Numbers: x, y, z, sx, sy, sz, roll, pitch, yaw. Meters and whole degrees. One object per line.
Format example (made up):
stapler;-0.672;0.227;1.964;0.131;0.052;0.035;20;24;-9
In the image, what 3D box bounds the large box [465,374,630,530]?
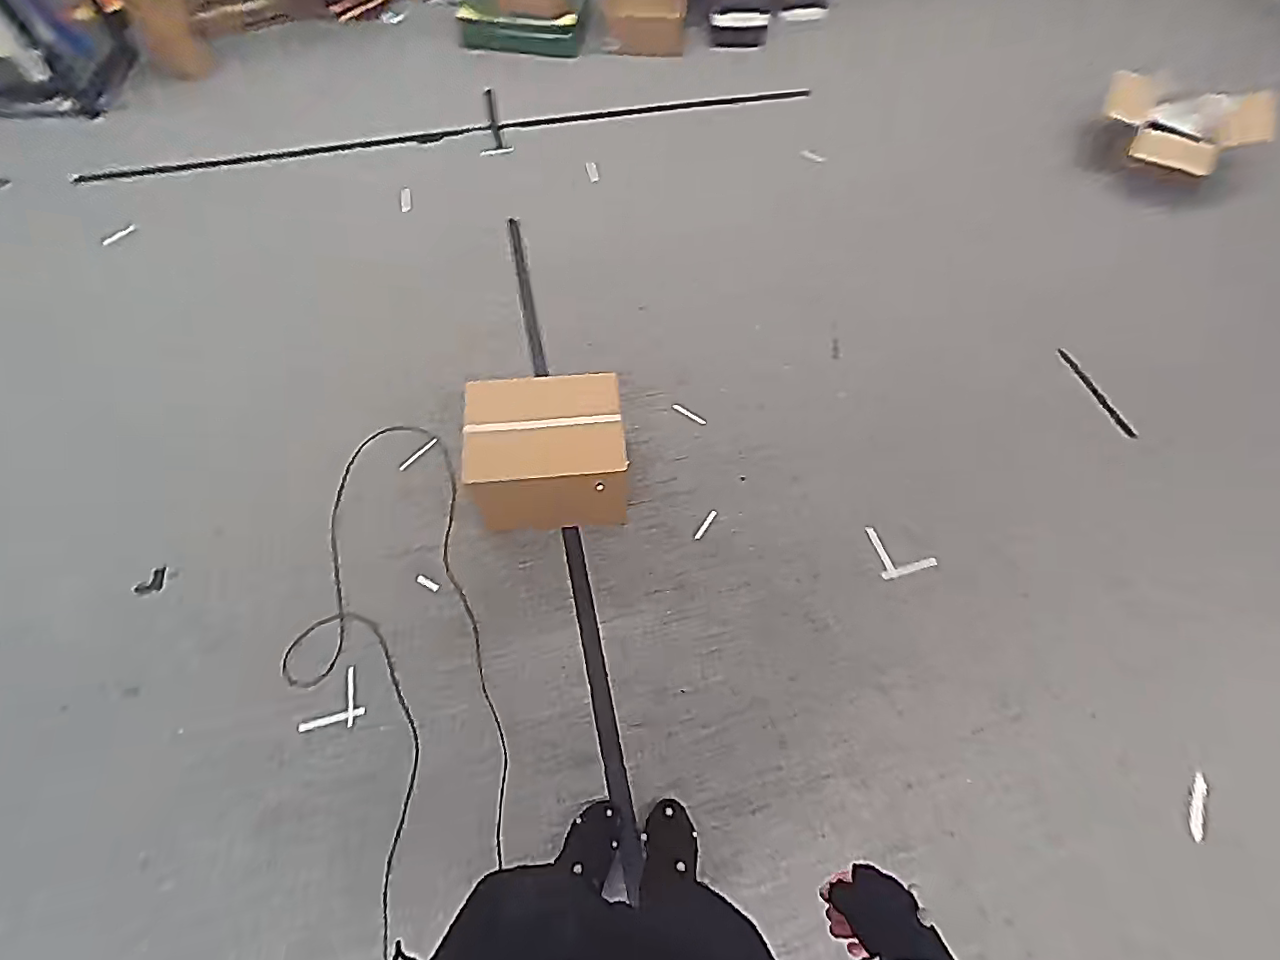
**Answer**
large box;-0.245;-0.069;1.510;0.408;0.320;0.320;-4;61;-5
